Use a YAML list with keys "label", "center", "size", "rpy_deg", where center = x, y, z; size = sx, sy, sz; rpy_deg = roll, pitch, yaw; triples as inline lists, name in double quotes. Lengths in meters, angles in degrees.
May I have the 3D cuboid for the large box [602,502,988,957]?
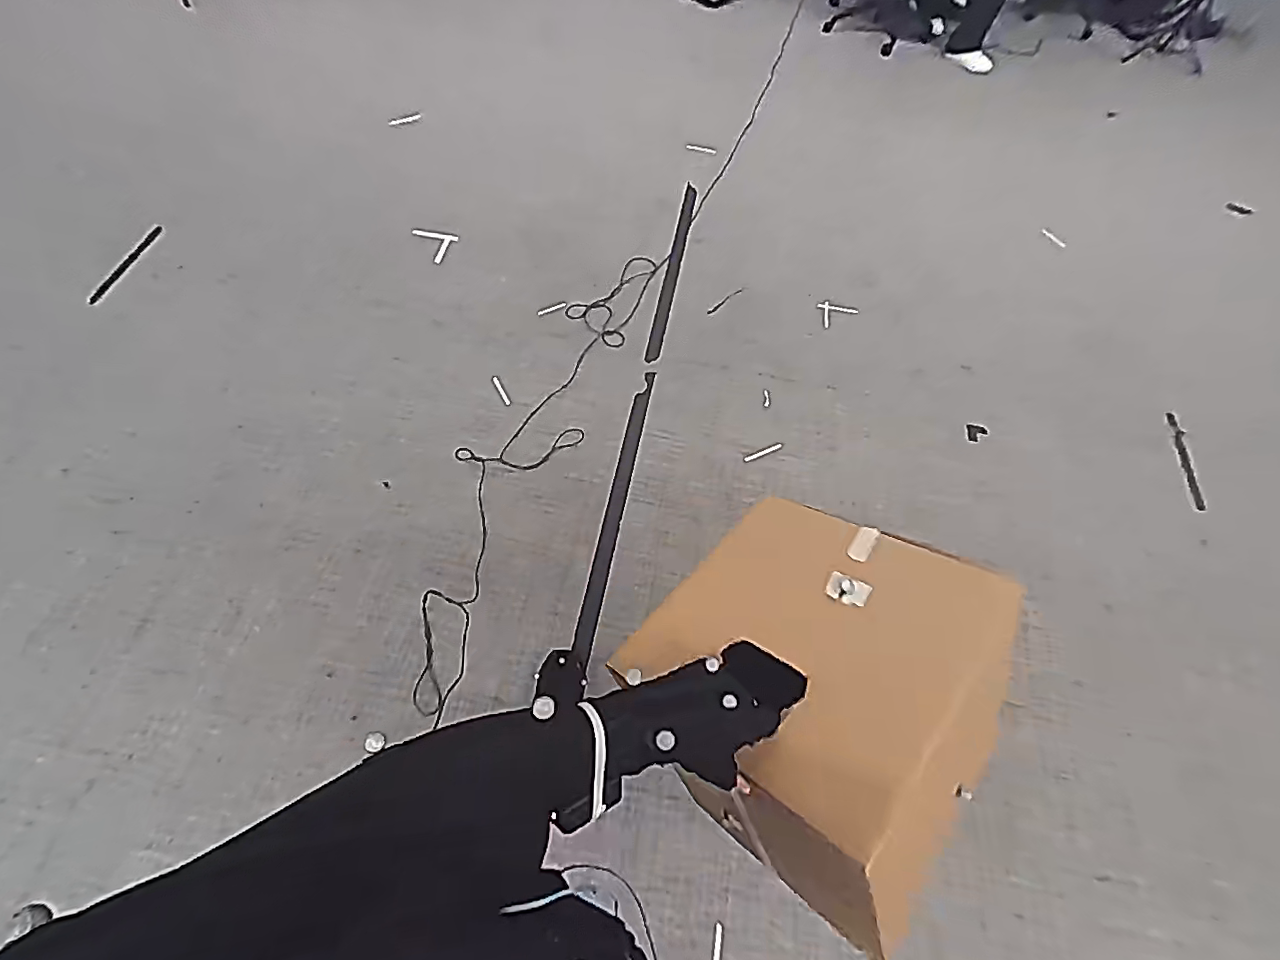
- label: "large box"
  center: [0.221, 0.297, 0.698]
  size: [0.320, 0.408, 0.320]
  rpy_deg: [21, 56, 45]
